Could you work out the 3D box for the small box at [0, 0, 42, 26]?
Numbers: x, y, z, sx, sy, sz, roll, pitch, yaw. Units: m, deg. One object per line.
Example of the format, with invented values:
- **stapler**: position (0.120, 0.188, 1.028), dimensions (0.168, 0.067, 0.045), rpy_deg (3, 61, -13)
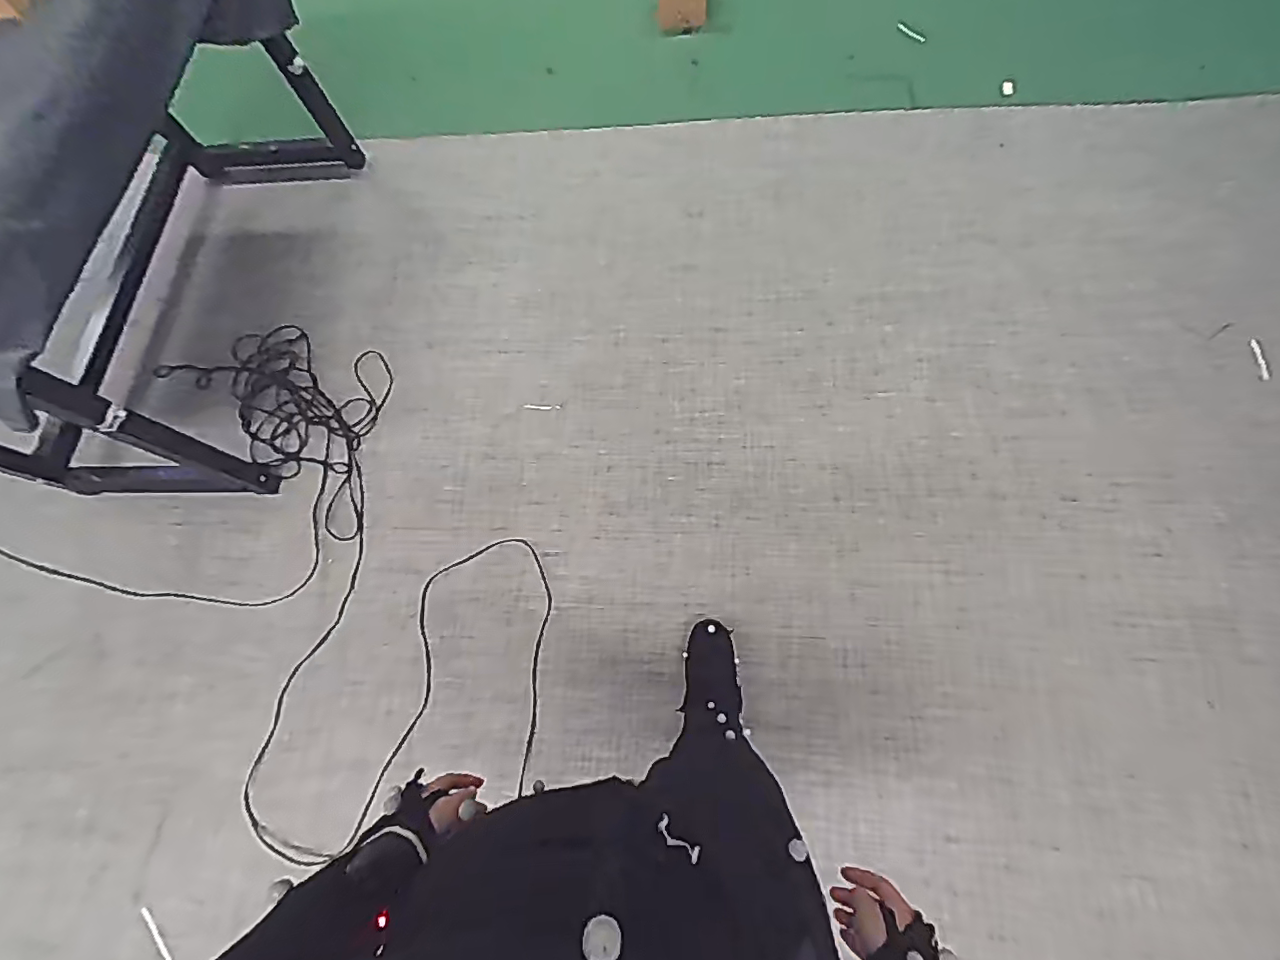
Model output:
- **small box**: position (-1.163, -0.903, 0.907), dimensions (0.179, 0.176, 0.168), rpy_deg (1, 73, 5)
